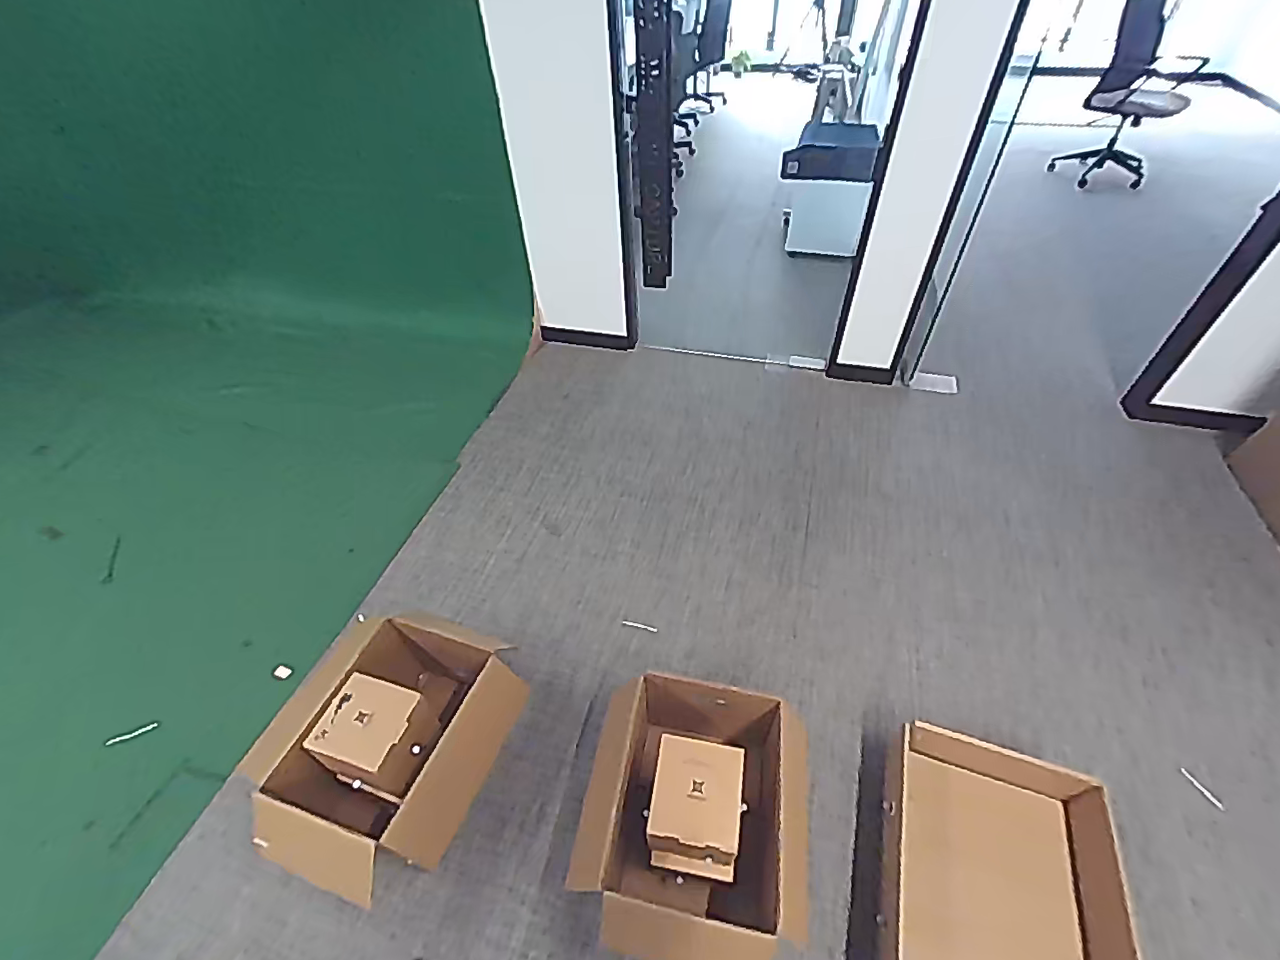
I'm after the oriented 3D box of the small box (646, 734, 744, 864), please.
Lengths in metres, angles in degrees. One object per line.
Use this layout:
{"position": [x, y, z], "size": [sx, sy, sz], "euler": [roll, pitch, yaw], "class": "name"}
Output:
{"position": [0.110, 0.632, 1.068], "size": [0.168, 0.176, 0.179], "euler": [8, 48, 9], "class": "small box"}
